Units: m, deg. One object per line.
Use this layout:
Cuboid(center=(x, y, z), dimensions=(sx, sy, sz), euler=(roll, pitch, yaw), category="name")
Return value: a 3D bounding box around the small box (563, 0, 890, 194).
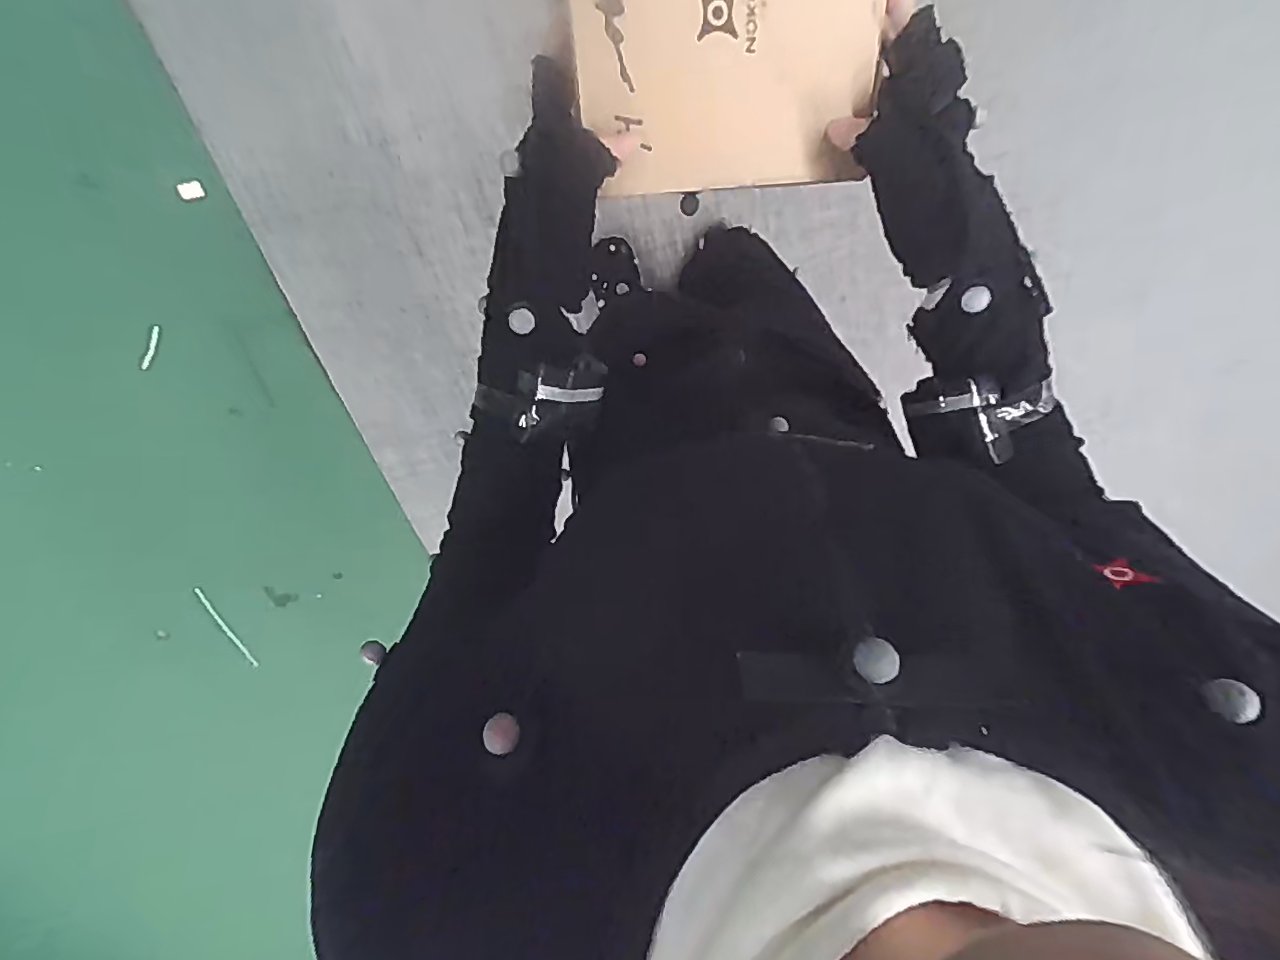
Cuboid(center=(0.043, -0.290, 0.363), dimensions=(0.179, 0.176, 0.168), euler=(-6, 116, -6), category="small box")
